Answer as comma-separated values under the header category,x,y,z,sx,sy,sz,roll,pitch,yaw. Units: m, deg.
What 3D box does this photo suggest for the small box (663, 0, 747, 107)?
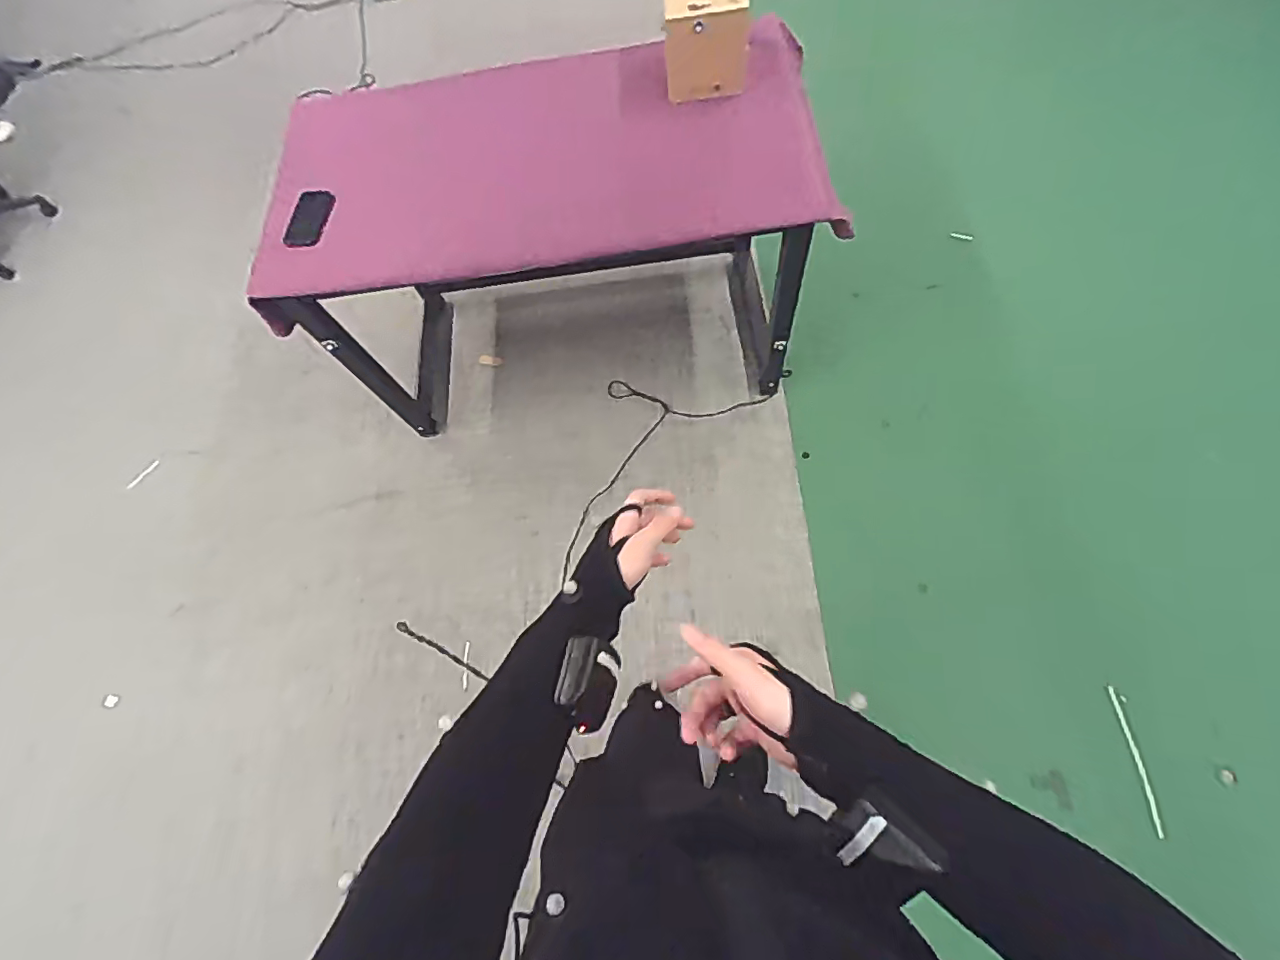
category,x,y,z,sx,sy,sz,roll,pitch,yaw
small box,0.136,-0.946,1.159,0.168,0.176,0.179,-4,67,6
